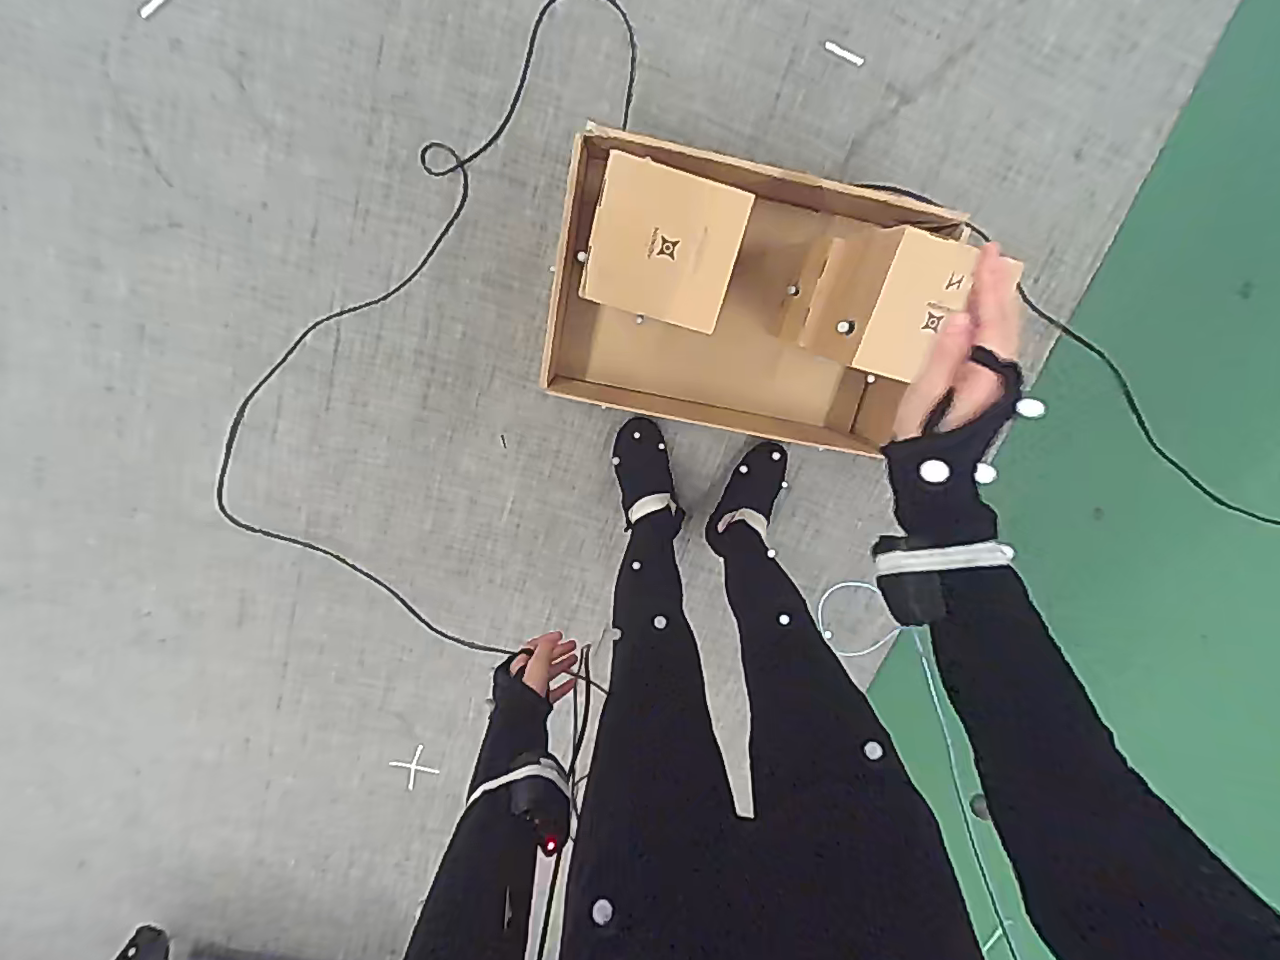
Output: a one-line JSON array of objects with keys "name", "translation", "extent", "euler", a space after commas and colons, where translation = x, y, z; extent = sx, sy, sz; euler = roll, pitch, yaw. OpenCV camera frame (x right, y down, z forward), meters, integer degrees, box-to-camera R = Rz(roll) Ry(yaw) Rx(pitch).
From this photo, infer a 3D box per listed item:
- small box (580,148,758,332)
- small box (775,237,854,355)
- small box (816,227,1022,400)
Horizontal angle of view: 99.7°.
[{"name": "small box", "translation": [0.029, -0.306, 0.717], "extent": [0.179, 0.176, 0.168], "euler": [15, 109, -8]}, {"name": "small box", "translation": [0.348, -0.290, 0.909], "extent": [0.179, 0.176, 0.168], "euler": [15, 108, -7]}, {"name": "small box", "translation": [0.368, -0.230, 0.756], "extent": [0.168, 0.176, 0.179], "euler": [14, 108, -8]}]
